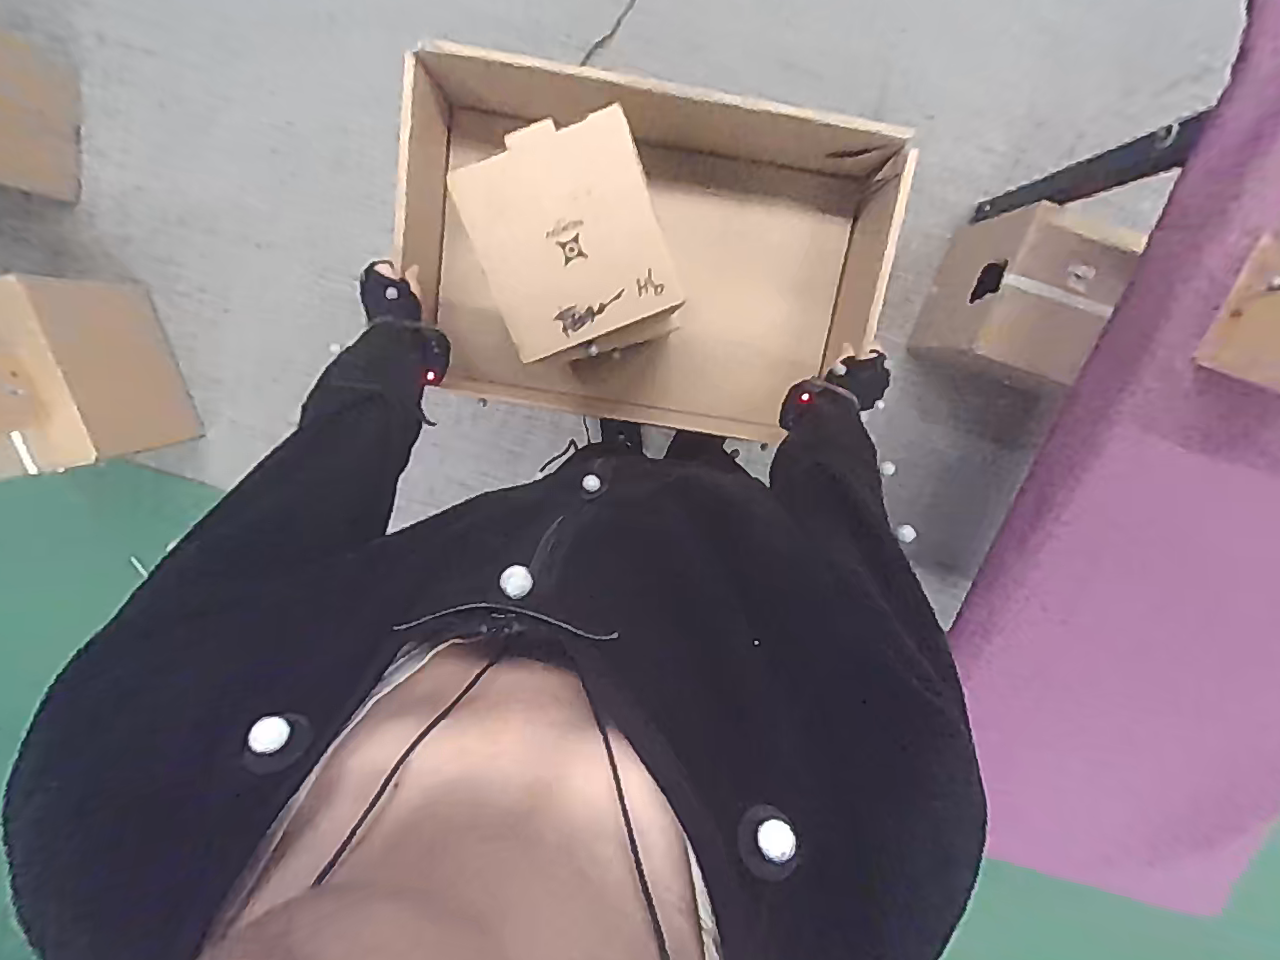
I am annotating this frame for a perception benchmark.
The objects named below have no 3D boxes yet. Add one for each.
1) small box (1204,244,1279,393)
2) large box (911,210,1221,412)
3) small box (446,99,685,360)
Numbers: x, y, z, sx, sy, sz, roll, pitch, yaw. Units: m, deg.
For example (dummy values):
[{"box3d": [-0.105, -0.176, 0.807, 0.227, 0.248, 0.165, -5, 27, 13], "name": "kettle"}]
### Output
[{"box3d": [0.840, -0.181, 0.619, 0.179, 0.176, 0.168, 18, 104, -4], "name": "small box"}, {"box3d": [0.935, -0.375, 1.252, 0.408, 0.320, 0.320, 17, 103, -2], "name": "large box"}, {"box3d": [-0.065, -0.231, 0.552, 0.168, 0.176, 0.179, -20, 102, 4], "name": "small box"}]
